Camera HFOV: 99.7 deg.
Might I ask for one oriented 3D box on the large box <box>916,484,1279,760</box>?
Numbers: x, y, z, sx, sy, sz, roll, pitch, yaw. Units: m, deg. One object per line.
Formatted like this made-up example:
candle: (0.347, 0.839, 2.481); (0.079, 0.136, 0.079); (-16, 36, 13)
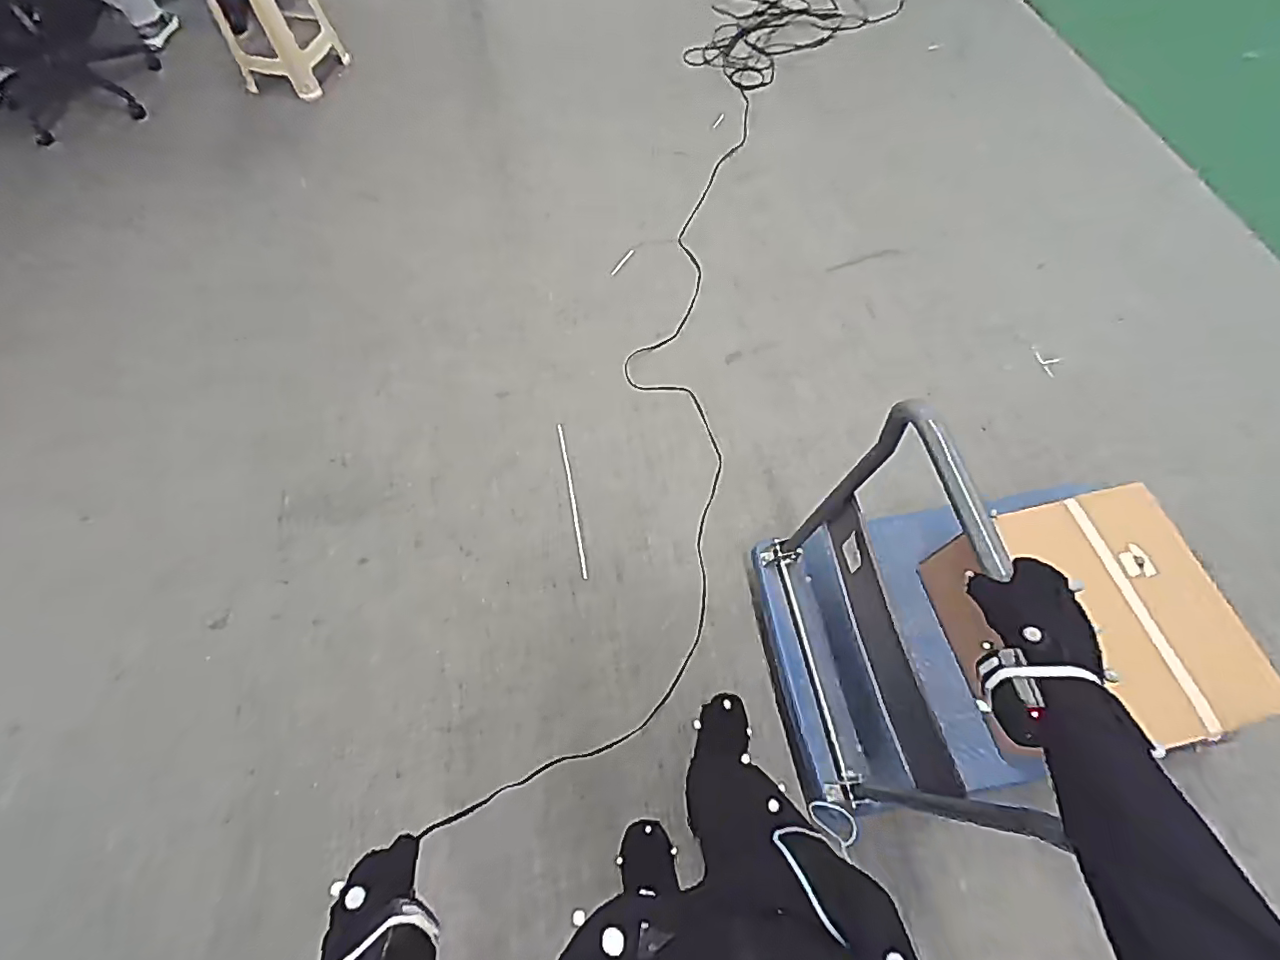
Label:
large box: (0.817, 0.278, 1.036); (0.320, 0.320, 0.408); (-12, 64, -5)
